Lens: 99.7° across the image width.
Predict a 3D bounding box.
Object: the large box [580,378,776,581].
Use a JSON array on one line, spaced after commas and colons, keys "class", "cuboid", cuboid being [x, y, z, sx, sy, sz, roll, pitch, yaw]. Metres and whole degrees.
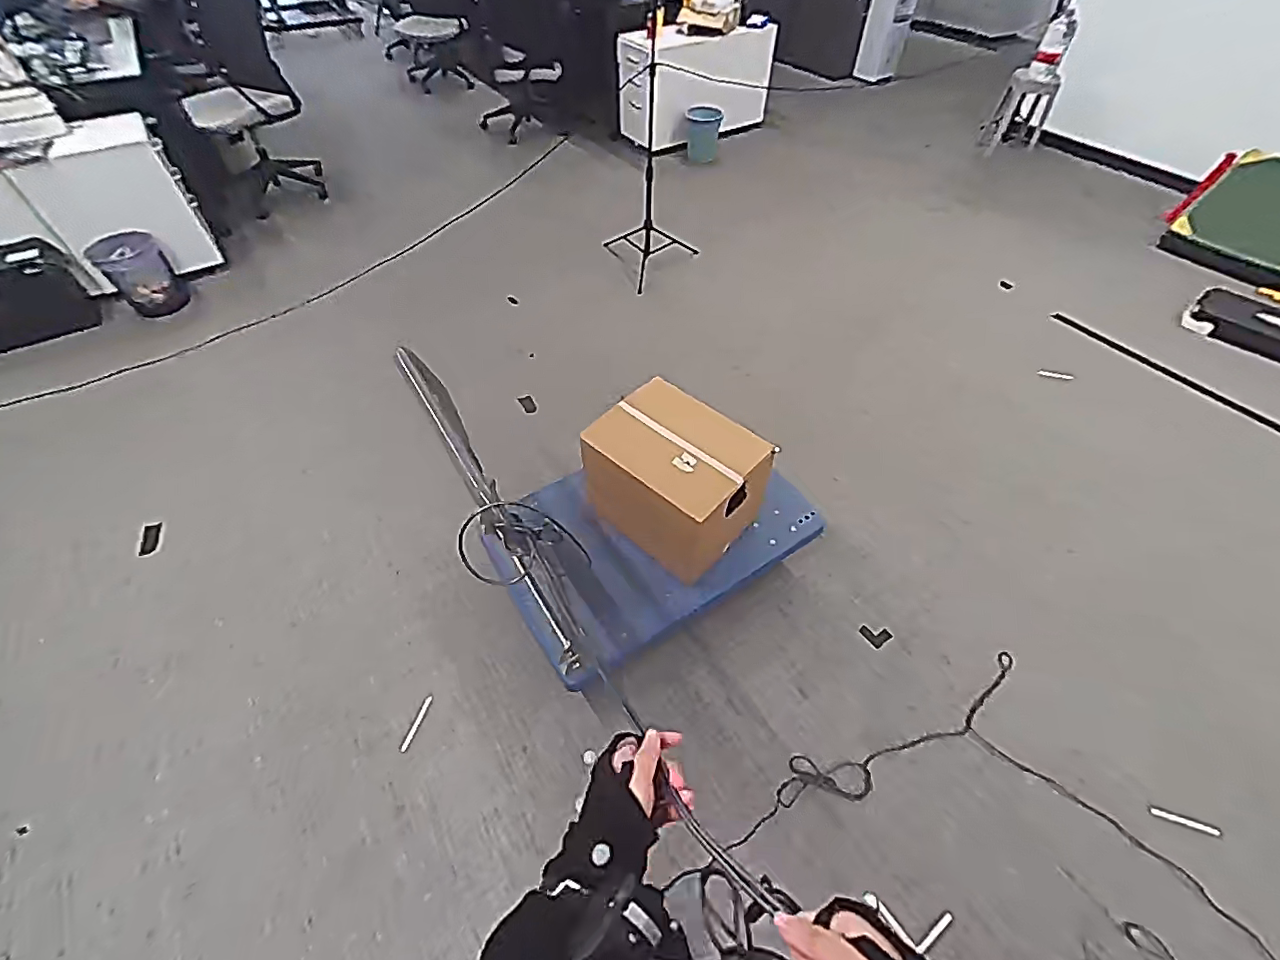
[{"class": "large box", "cuboid": [0.090, -0.005, 1.474, 0.408, 0.320, 0.320, 36, 61, 24]}]
